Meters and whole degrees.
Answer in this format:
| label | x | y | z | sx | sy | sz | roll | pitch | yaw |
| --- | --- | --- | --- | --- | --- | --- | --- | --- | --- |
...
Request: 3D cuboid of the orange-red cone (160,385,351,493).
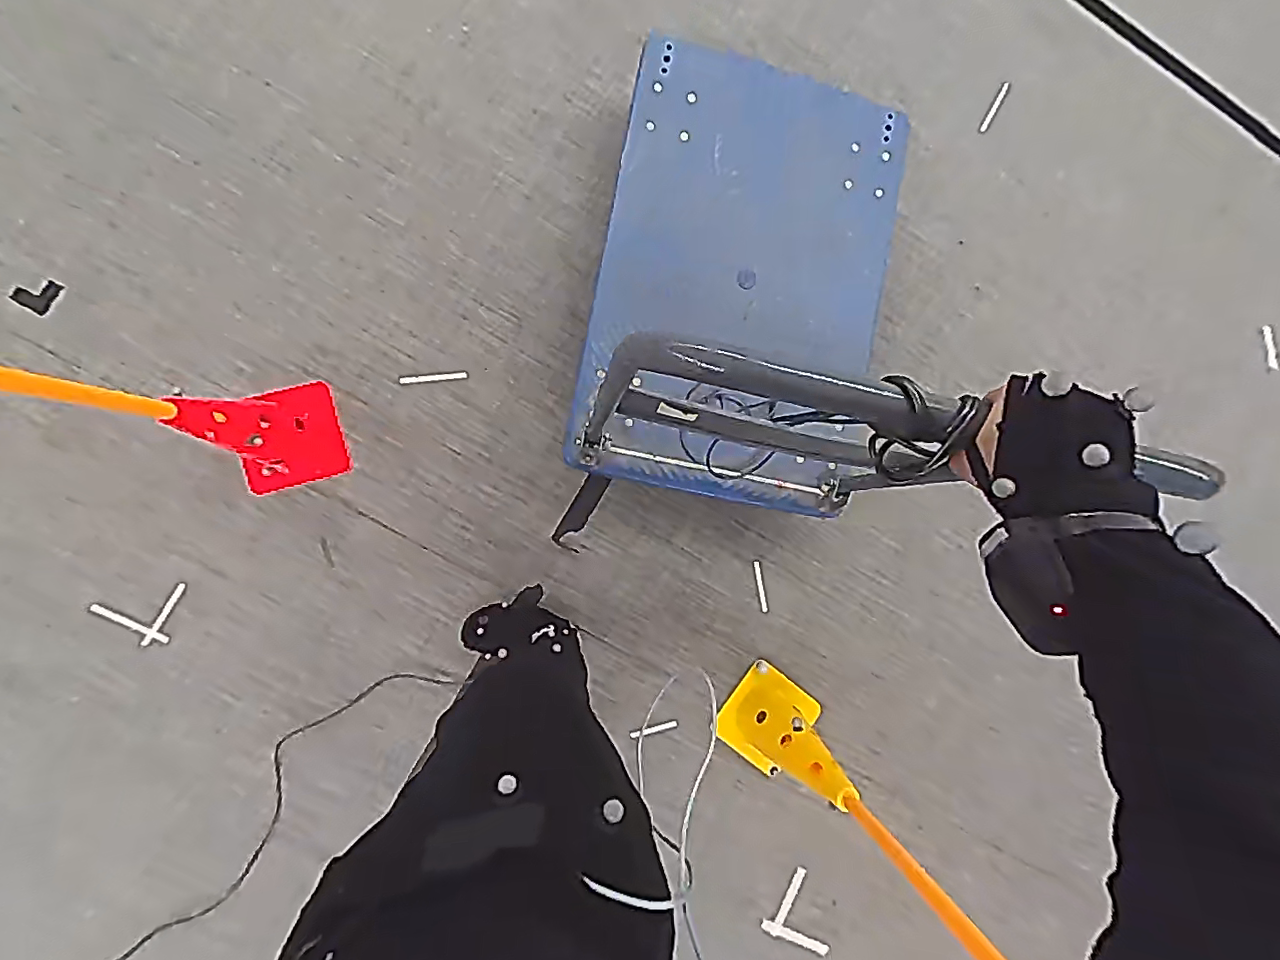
| label | x | y | z | sx | sy | sz | roll | pitch | yaw |
| --- | --- | --- | --- | --- | --- | --- | --- | --- | --- |
| orange-red cone | -0.681 | -0.091 | 0.931 | 0.199 | 0.360 | 0.198 | -15 | 91 | -10 |
